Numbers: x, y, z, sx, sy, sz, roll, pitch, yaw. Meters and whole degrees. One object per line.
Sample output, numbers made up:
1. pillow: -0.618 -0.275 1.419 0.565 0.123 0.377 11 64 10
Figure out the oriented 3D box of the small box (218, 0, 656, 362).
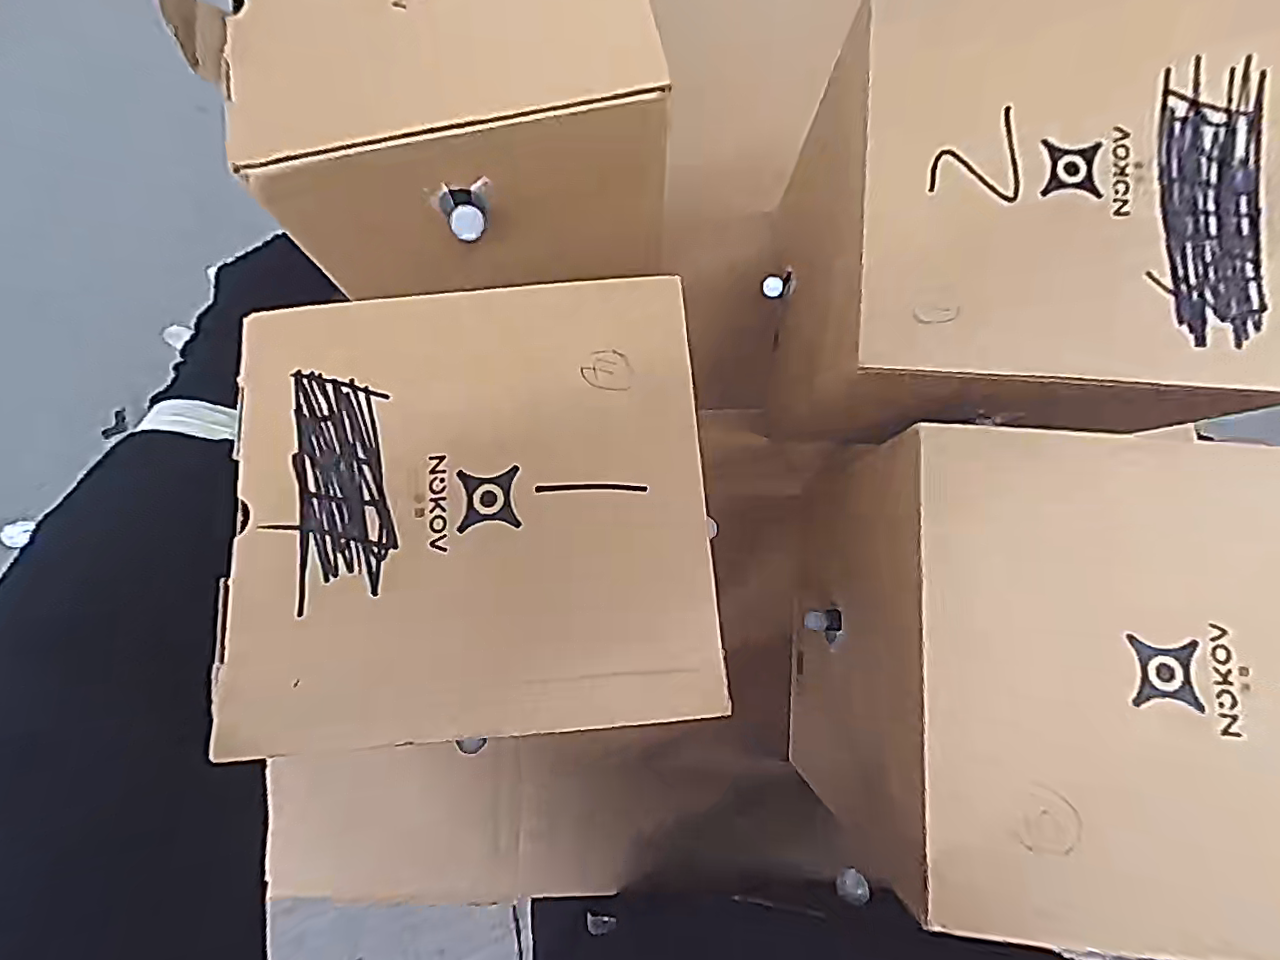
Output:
1. small box: -0.093 -0.190 0.312 0.179 0.176 0.168 -13 77 -1
